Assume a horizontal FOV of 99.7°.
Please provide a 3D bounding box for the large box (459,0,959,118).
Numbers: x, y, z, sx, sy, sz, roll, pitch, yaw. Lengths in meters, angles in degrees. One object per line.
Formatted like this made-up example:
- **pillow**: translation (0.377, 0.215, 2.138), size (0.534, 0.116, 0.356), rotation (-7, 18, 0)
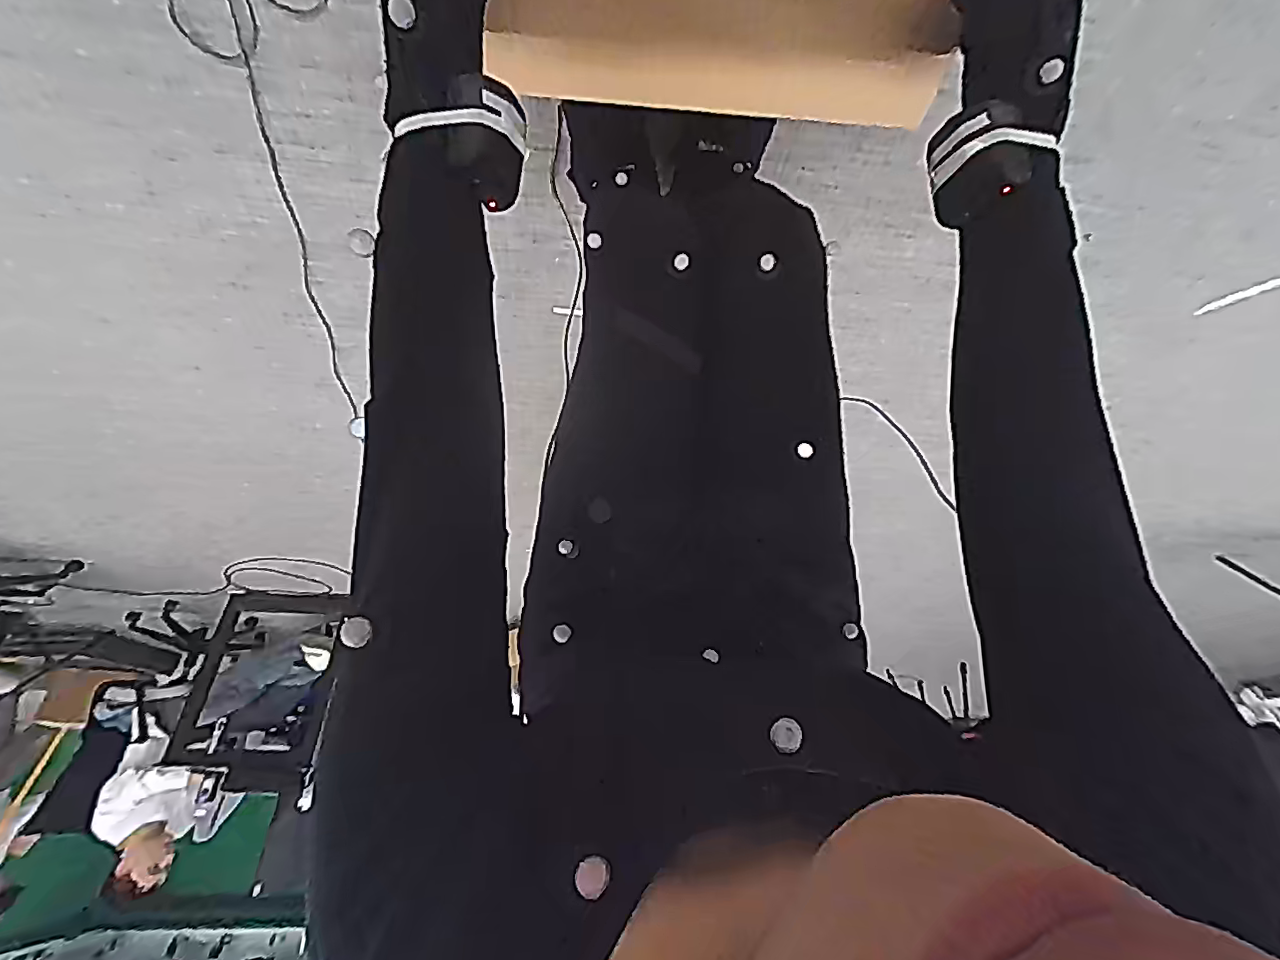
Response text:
- **large box**: translation (0.054, -0.543, 0.437), size (0.408, 0.320, 0.320), rotation (0, 149, -6)
